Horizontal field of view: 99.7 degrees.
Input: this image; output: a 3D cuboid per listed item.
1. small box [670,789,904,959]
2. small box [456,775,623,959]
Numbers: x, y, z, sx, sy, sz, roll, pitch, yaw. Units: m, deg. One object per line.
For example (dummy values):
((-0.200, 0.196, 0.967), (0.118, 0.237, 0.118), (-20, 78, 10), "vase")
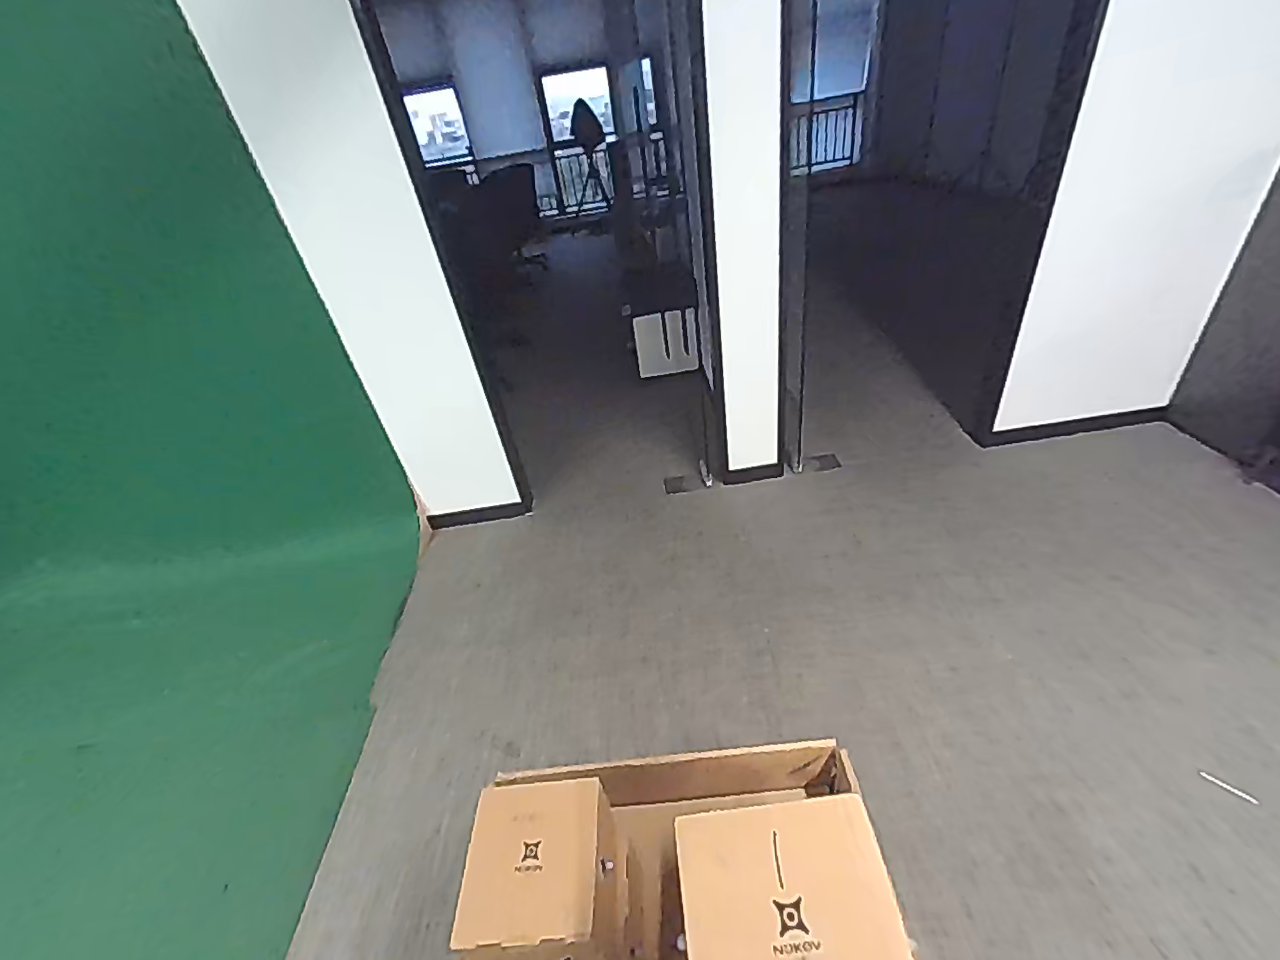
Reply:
((0.127, 0.399, 0.472), (0.168, 0.176, 0.179), (-10, 43, 4), "small box")
((-0.118, 0.527, 0.721), (0.168, 0.176, 0.179), (-8, 35, 5), "small box")
